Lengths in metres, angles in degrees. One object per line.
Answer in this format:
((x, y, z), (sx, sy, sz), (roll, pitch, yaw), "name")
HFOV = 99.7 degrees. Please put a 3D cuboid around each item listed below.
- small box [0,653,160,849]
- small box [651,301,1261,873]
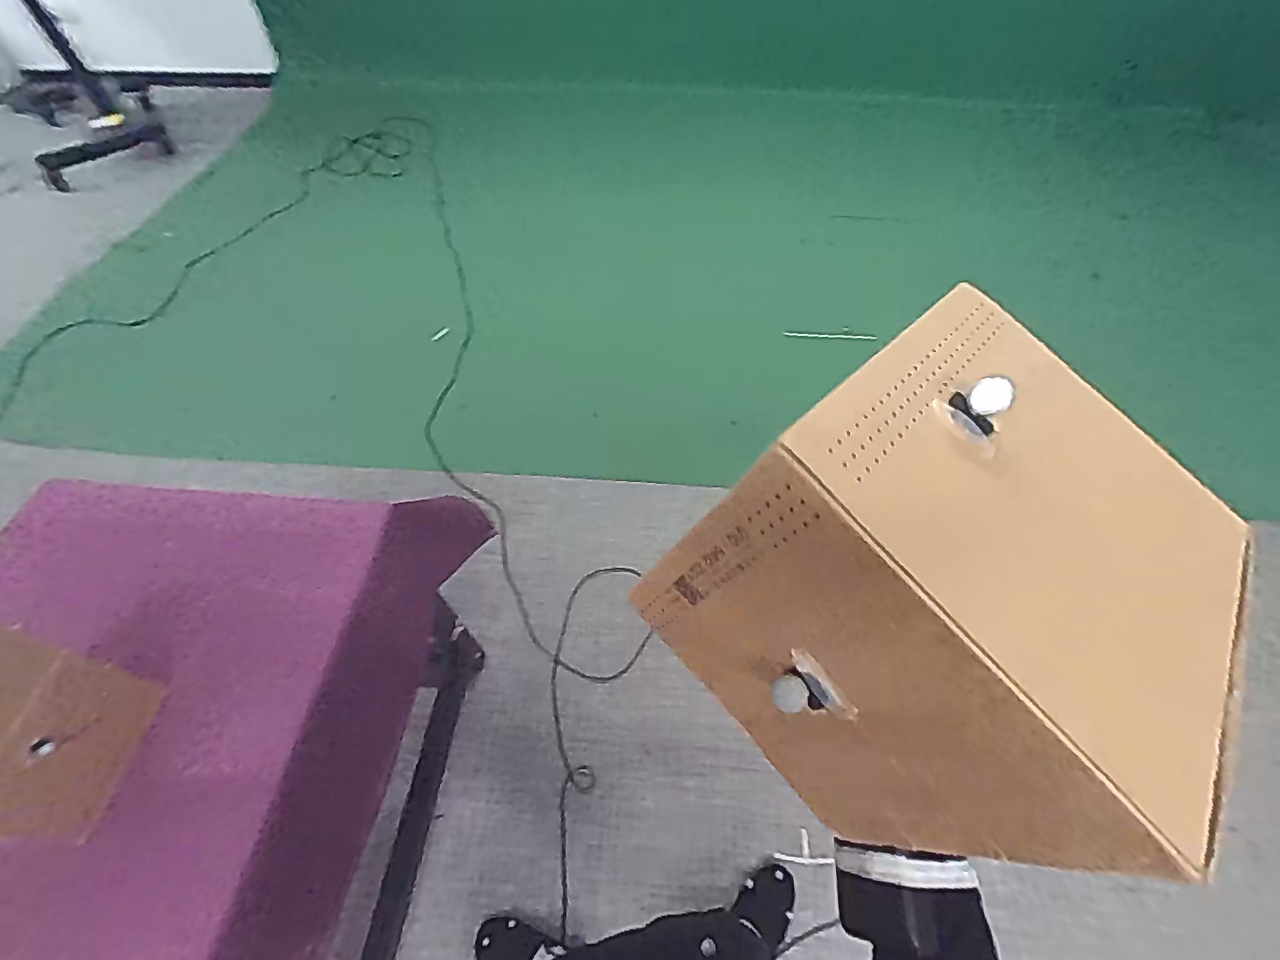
((-0.712, 0.304, 0.610), (0.168, 0.176, 0.179), (4, 54, 3), "small box")
((0.134, 0.044, 0.270), (0.179, 0.168, 0.176), (-34, 78, -34), "small box")
